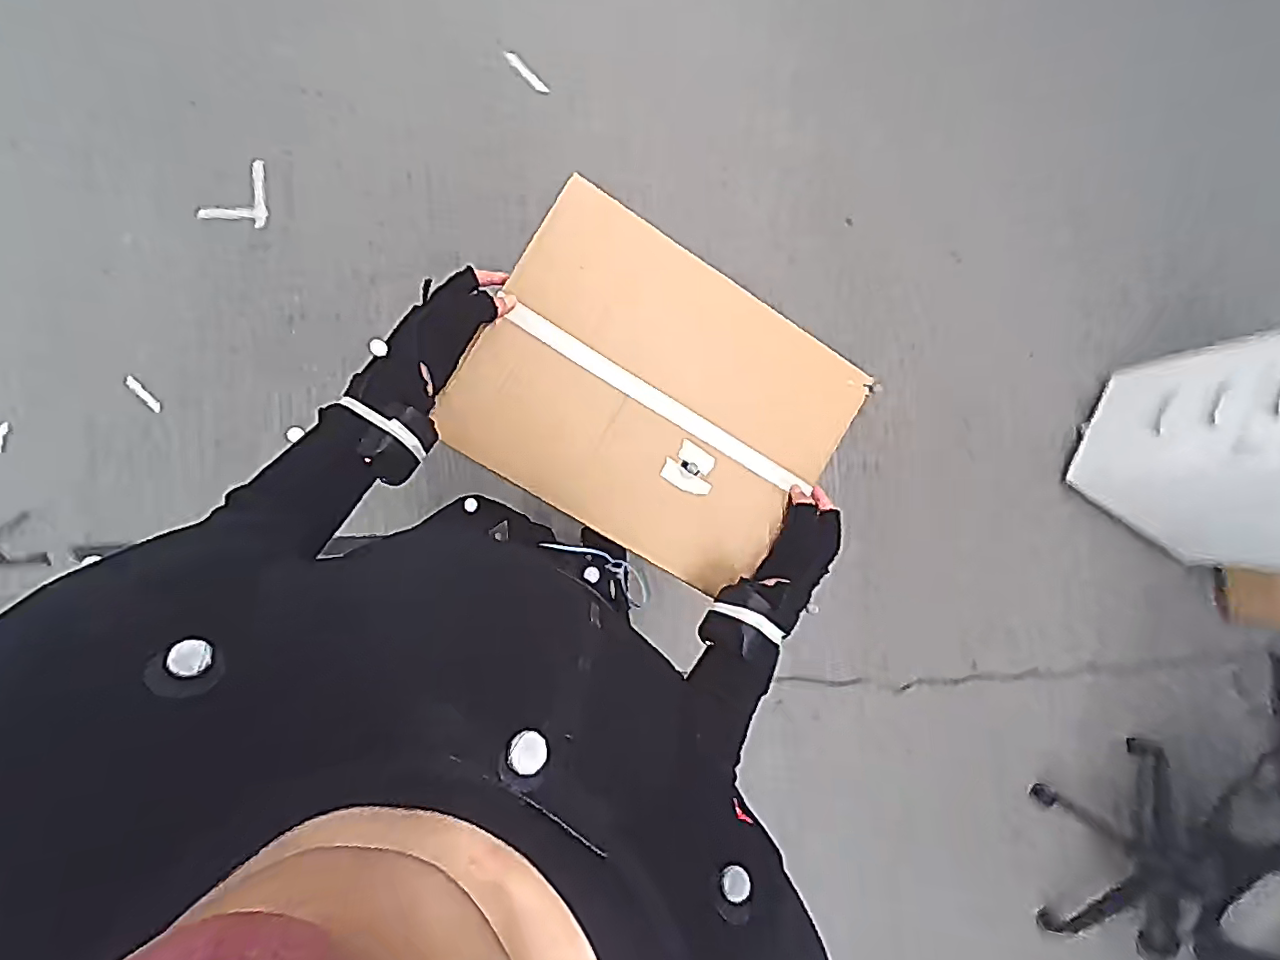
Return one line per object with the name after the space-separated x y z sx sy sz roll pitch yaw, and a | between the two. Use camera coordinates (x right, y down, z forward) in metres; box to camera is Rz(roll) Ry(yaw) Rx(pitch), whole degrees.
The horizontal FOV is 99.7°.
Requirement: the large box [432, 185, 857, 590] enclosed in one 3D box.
-0.006 -0.104 0.755 0.408 0.320 0.320 30 90 -10 | large box
